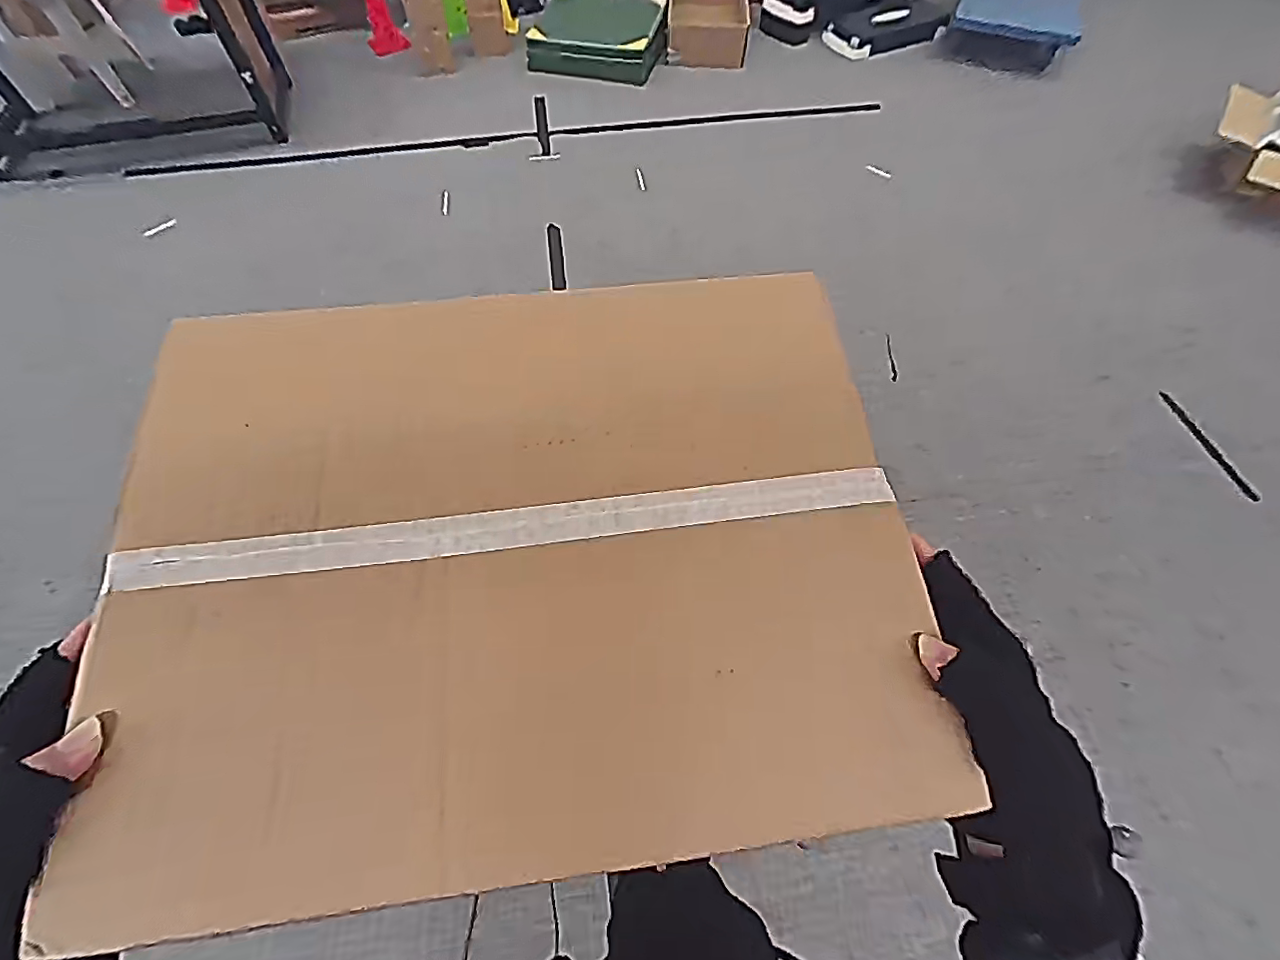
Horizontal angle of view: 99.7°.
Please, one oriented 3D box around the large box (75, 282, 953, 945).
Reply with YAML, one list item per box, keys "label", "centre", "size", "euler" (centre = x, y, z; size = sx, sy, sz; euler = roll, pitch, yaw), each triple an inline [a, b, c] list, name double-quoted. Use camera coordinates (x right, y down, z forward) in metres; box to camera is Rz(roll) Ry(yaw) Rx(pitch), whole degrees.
- label: "large box"
  centre: [-0.067, 0.084, 0.434]
  size: [0.408, 0.320, 0.320]
  euler: [-6, 68, -4]
